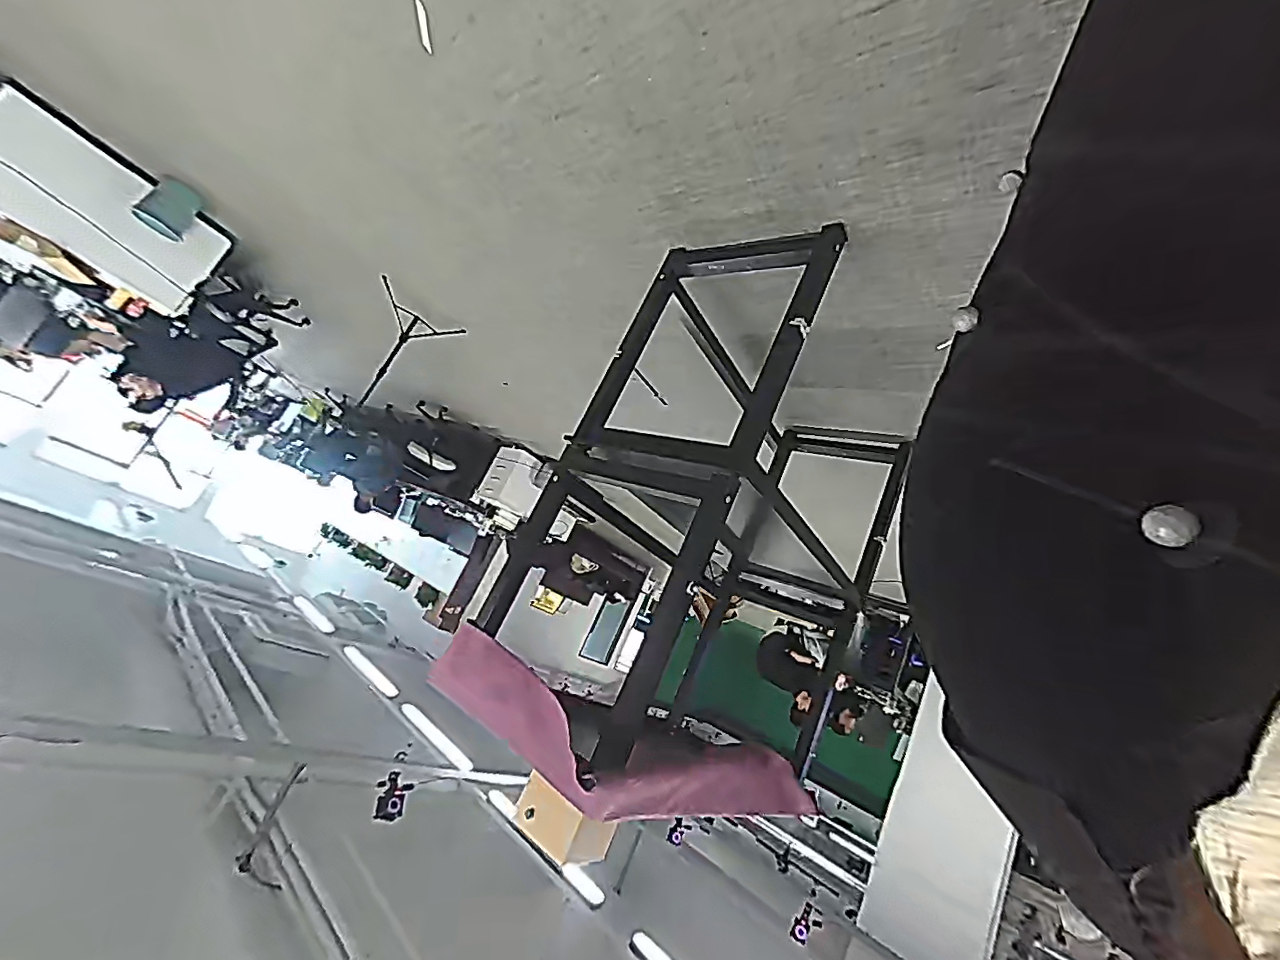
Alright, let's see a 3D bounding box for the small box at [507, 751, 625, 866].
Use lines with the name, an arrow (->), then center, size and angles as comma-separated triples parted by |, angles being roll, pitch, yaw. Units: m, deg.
small box -> -0.166, 0.746, 1.251 | 0.179, 0.176, 0.168 | 15, 163, 37
